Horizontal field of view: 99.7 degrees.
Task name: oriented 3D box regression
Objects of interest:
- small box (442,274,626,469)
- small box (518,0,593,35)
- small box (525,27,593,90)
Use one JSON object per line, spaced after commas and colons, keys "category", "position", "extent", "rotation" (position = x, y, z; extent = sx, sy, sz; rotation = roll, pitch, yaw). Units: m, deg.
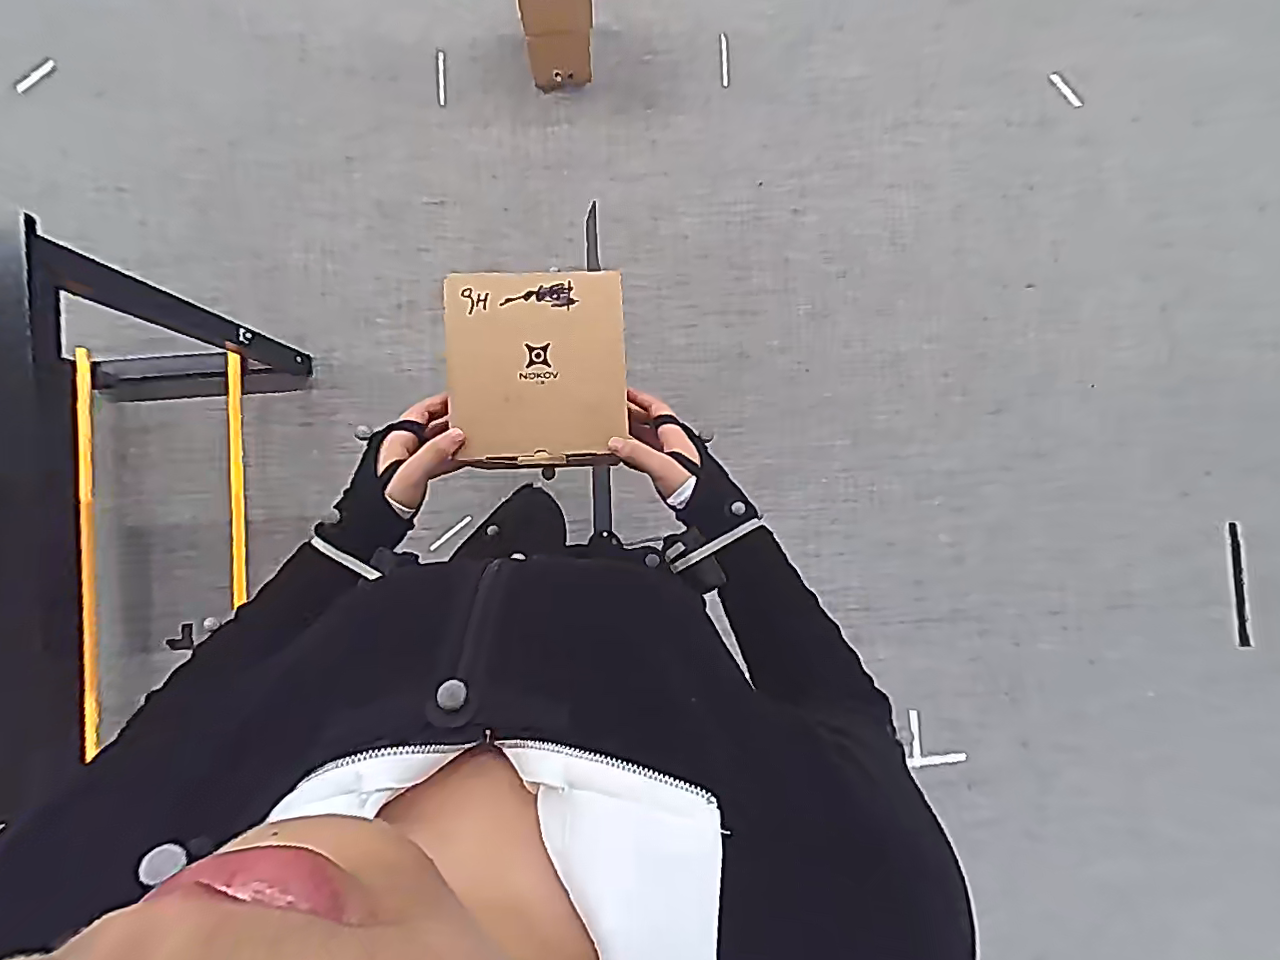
{"category": "small box", "position": [-0.101, -0.102, 0.577], "extent": [0.168, 0.176, 0.179], "rotation": [-3, 90, -5]}
{"category": "small box", "position": [-0.209, -1.201, 1.279], "extent": [0.179, 0.176, 0.168], "rotation": [-7, 89, -3]}
{"category": "small box", "position": [-0.221, -1.194, 1.443], "extent": [0.168, 0.176, 0.179], "rotation": [-10, 90, -2]}
